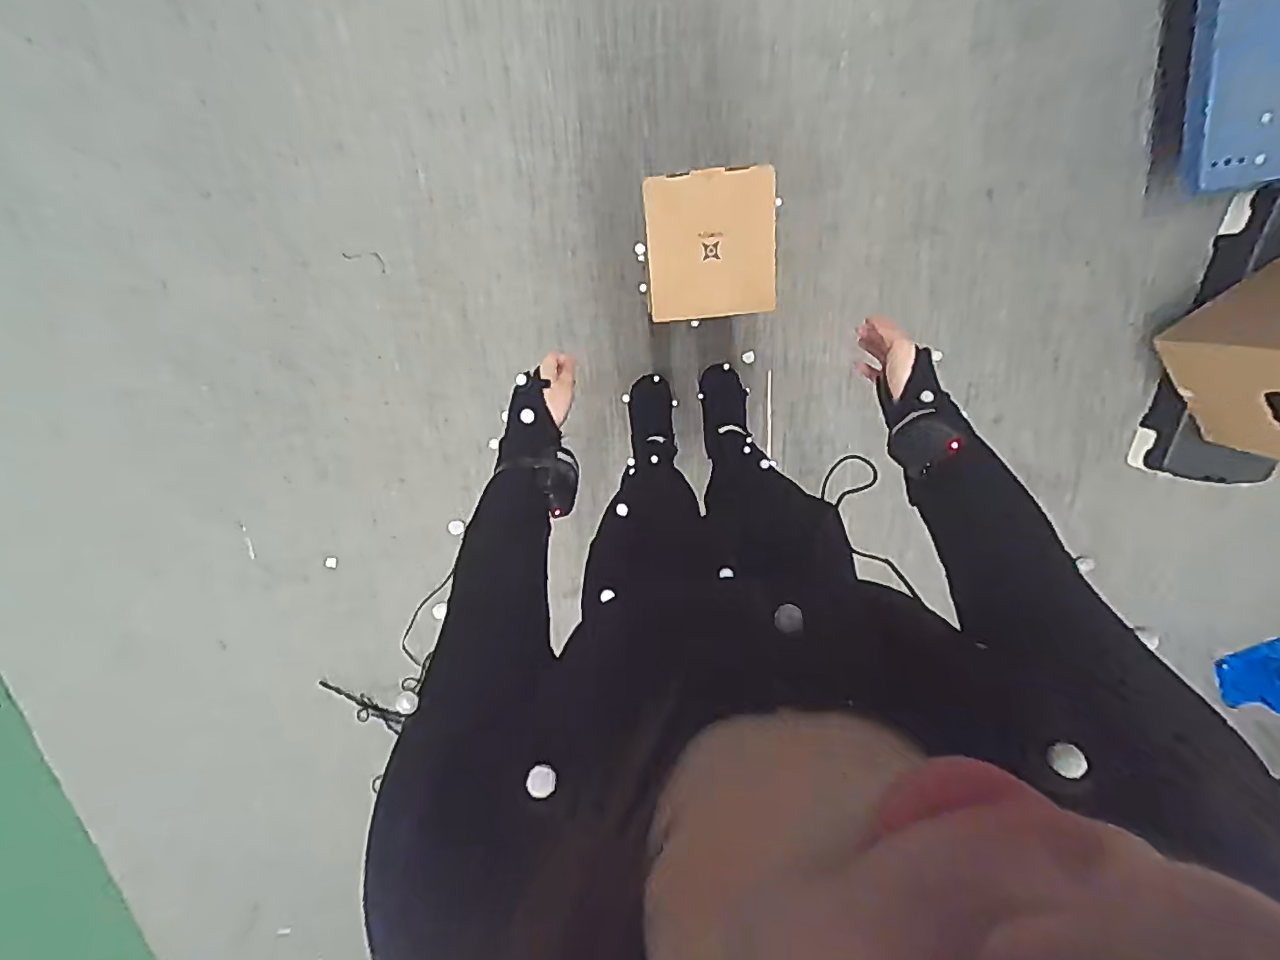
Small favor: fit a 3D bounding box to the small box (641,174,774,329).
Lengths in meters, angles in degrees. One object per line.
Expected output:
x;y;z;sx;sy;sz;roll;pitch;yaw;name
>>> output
0.093;-0.316;0.768;0.168;0.176;0.179;-4;108;3;small box
